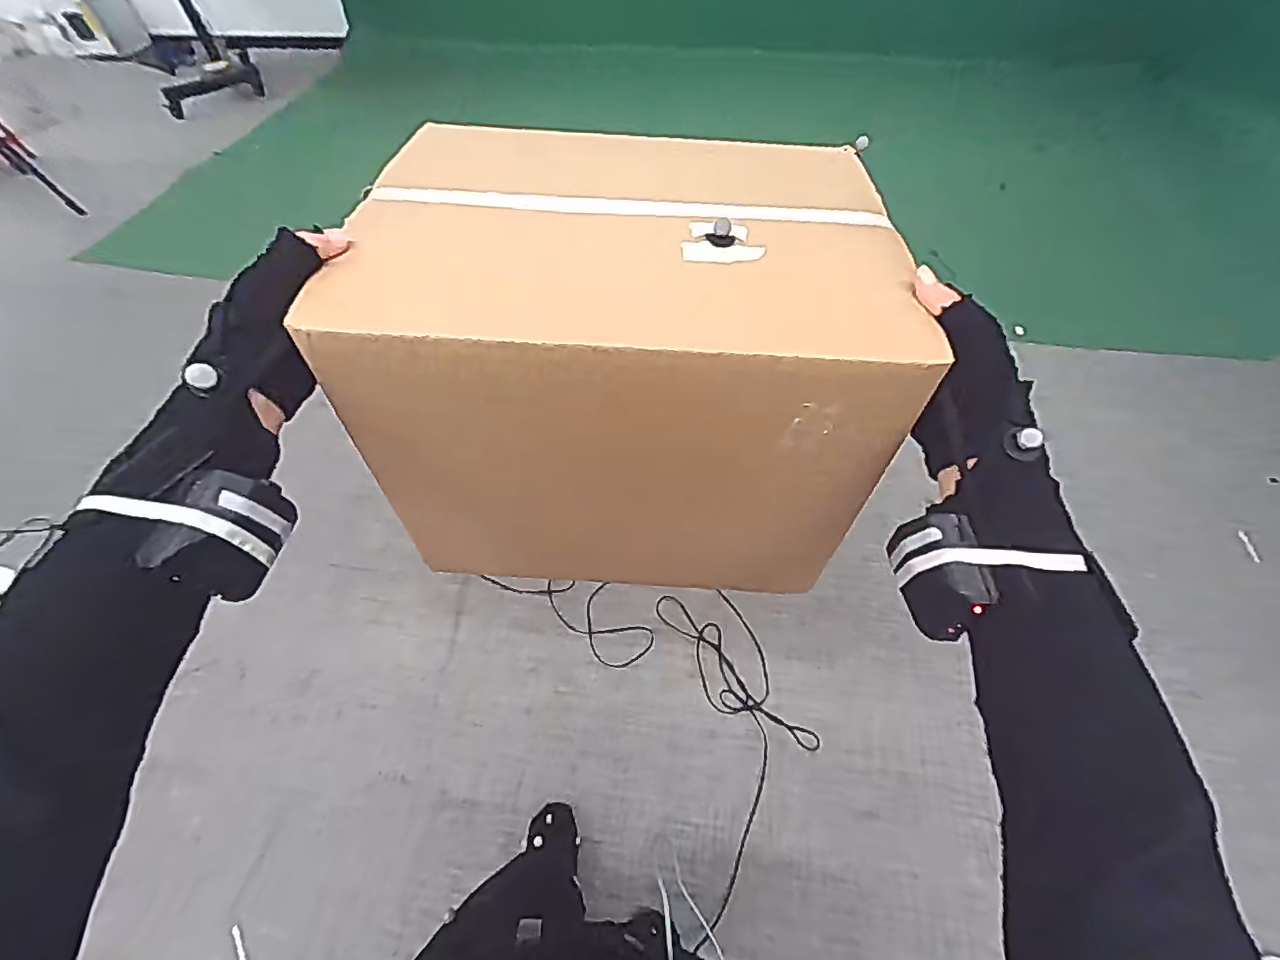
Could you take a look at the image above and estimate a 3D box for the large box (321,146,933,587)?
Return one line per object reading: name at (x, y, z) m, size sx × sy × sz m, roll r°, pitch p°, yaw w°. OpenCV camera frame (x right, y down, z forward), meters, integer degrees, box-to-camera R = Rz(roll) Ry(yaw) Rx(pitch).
large box at (-0.011, -0.103, 0.552) m, size 0.408 × 0.320 × 0.320 m, roll 4°, pitch 52°, yaw -1°
